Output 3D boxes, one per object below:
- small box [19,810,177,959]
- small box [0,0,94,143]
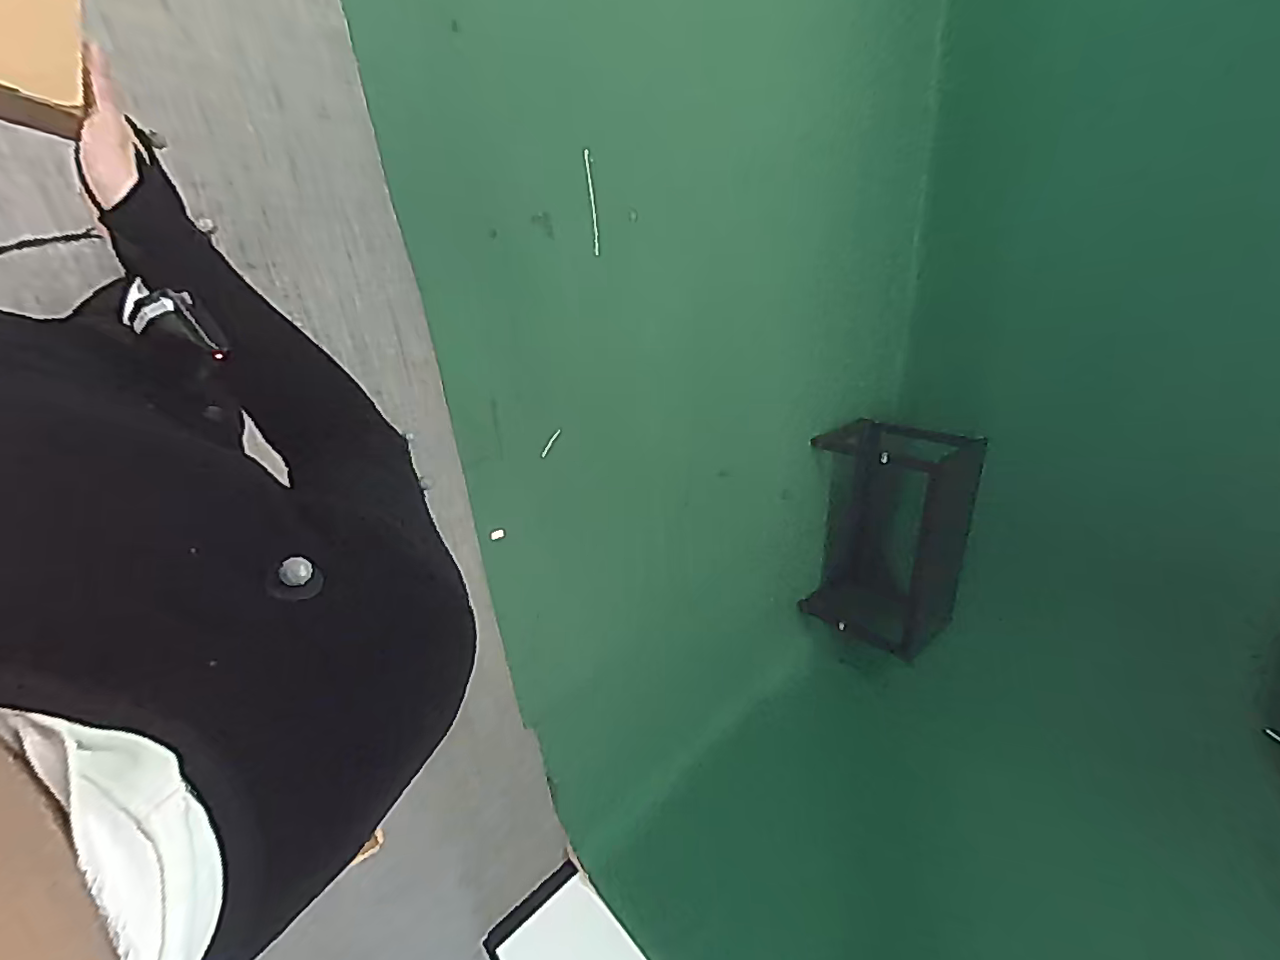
[{"bbox_3d":[-0.988,0.766,1.000,0.168,0.176,0.179,-18,116,-39],"label":"small box"},{"bbox_3d":[-0.498,-0.364,0.372,0.168,0.176,0.179,-2,109,-47],"label":"small box"}]
